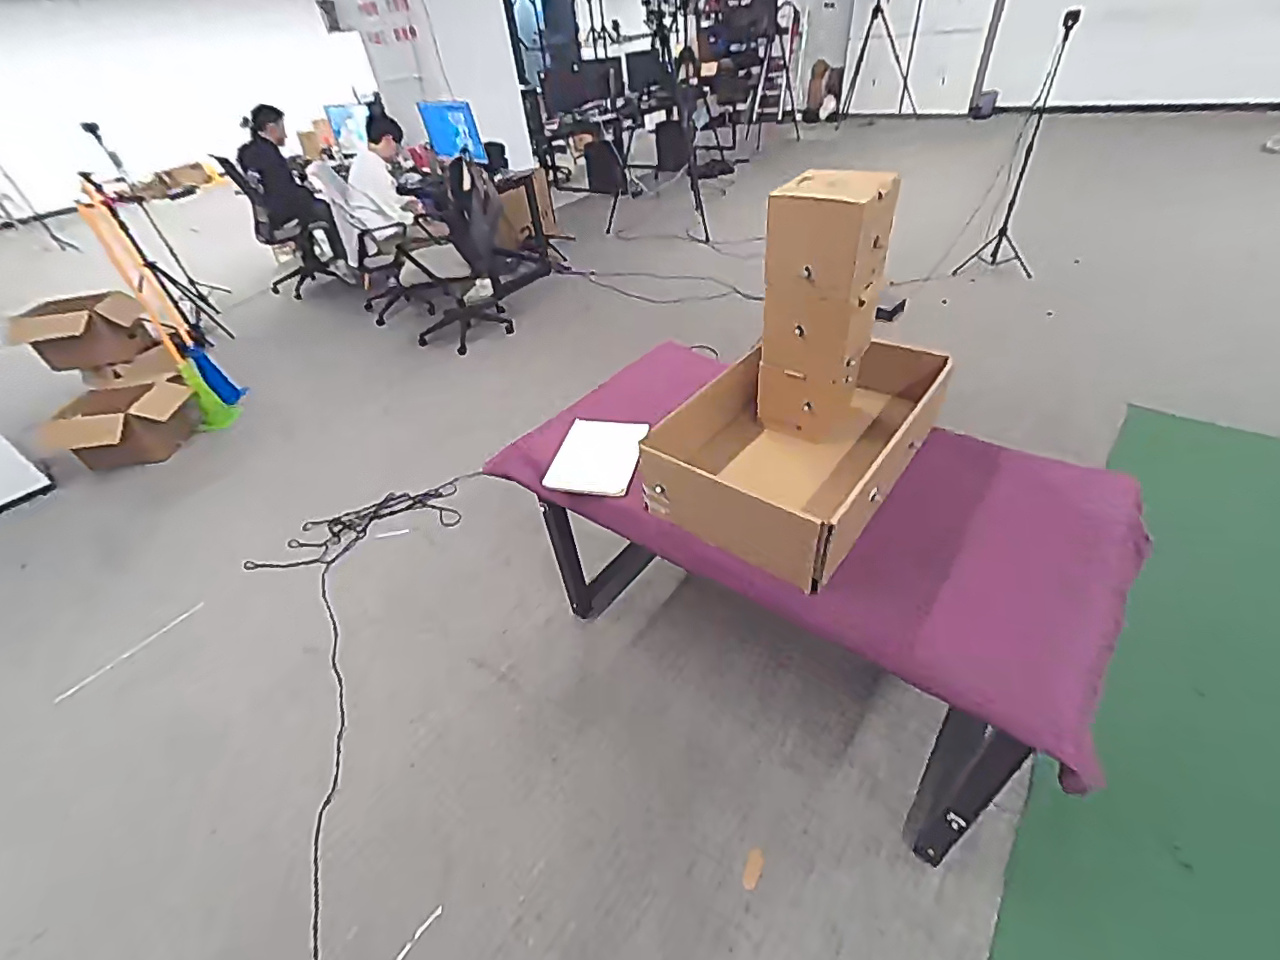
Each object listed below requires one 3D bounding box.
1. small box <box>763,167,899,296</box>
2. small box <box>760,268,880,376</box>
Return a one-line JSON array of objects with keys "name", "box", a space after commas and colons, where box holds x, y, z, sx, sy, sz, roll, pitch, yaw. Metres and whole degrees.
[{"name": "small box", "box": [0.346, -0.459, 1.002, 0.179, 0.176, 0.168, 25, 51, 31]}, {"name": "small box", "box": [0.363, -0.334, 1.107, 0.179, 0.176, 0.168, 22, 50, 30]}]
